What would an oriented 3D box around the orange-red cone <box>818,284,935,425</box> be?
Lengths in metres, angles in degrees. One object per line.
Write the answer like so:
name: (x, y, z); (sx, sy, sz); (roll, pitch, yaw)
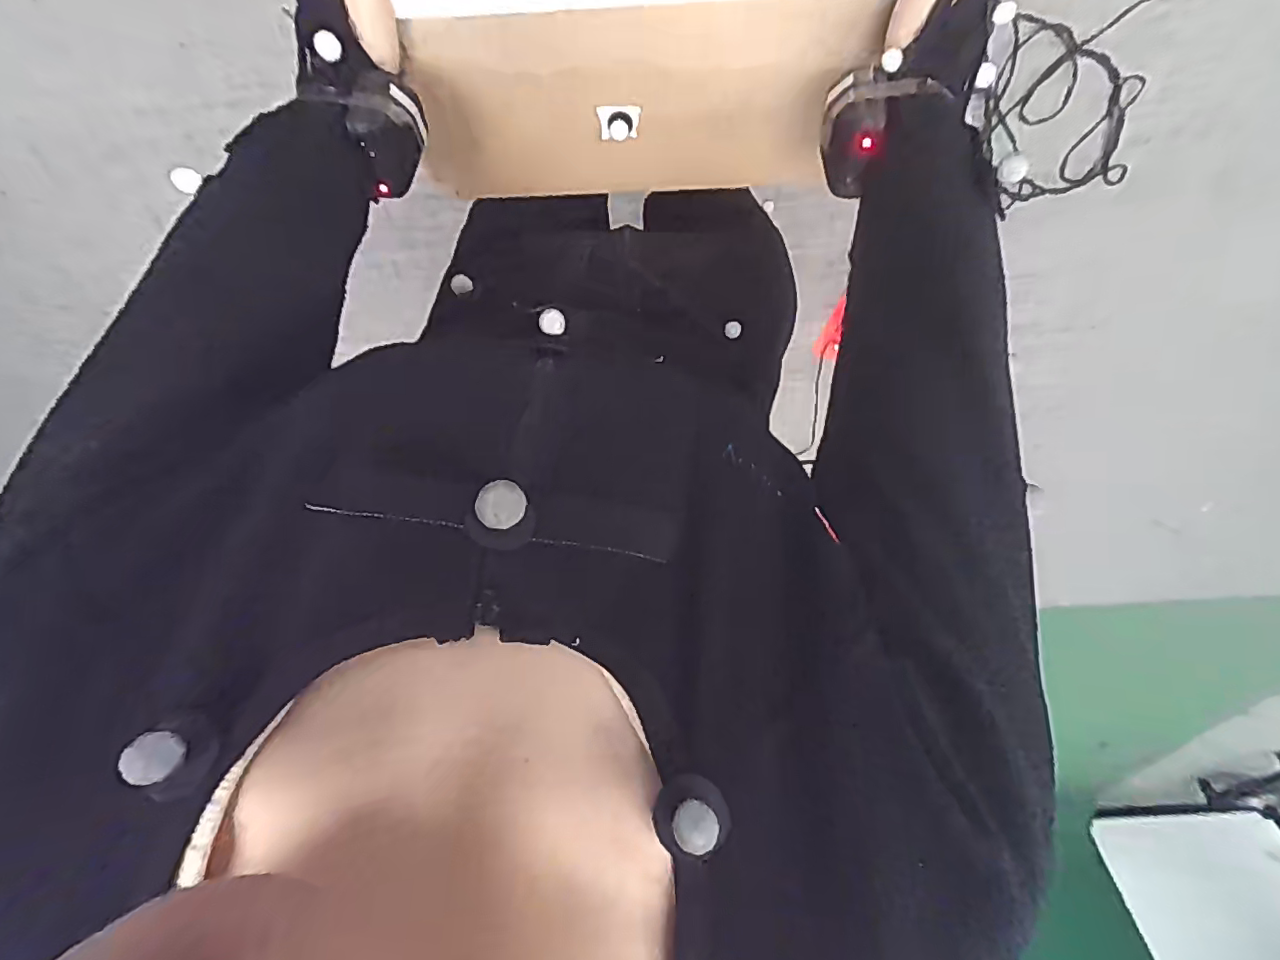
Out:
orange-red cone: (0.561, -0.248, 1.191); (0.199, 0.360, 0.198); (10, 134, -12)
